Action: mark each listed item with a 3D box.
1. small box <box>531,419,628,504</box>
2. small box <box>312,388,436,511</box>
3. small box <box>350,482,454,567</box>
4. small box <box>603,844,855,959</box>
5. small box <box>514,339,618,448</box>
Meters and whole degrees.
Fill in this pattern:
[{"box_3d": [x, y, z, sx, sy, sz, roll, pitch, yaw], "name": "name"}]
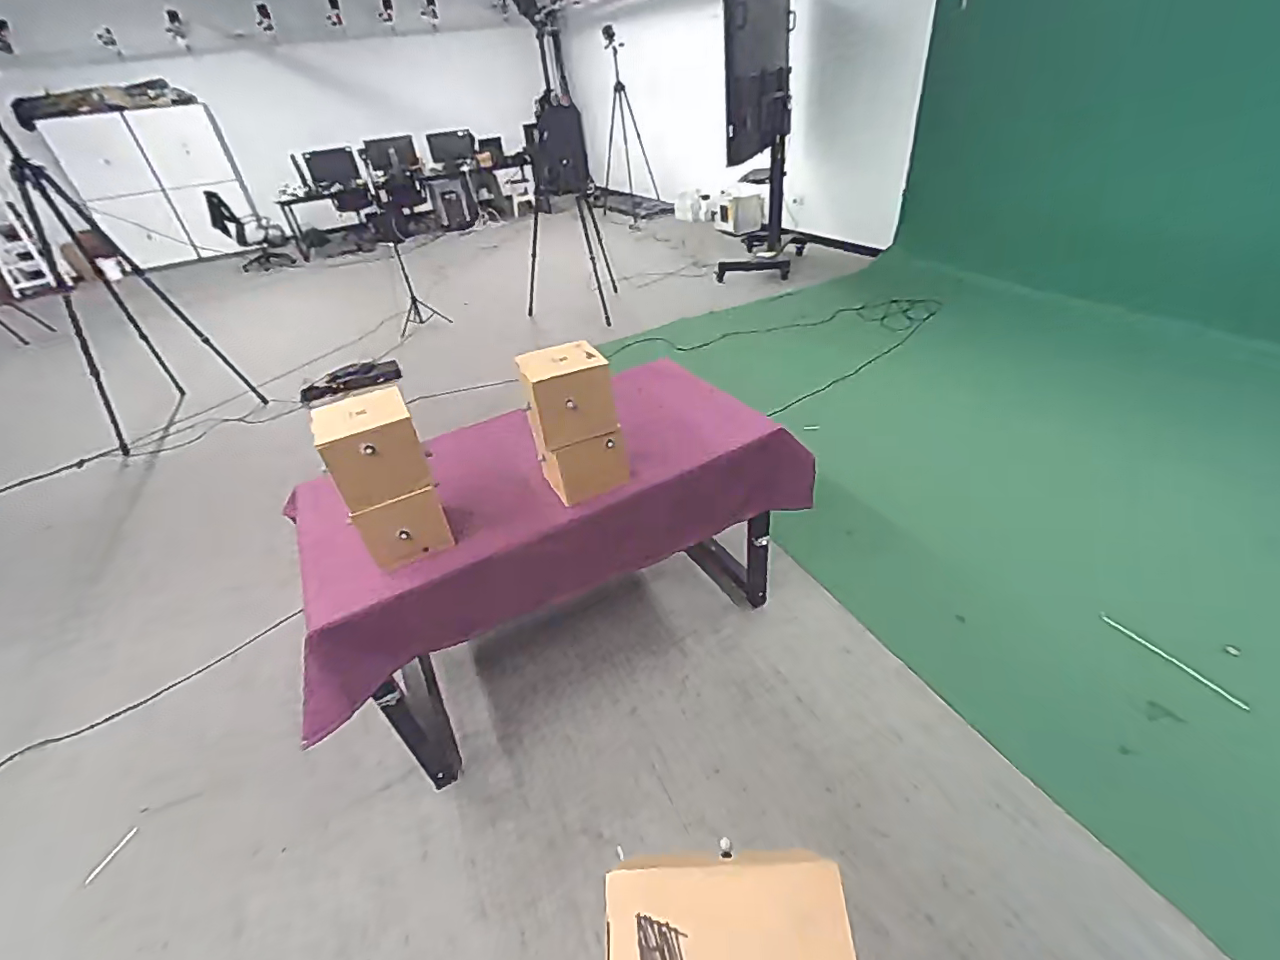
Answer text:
[{"box_3d": [-0.144, -0.068, 1.325, 0.179, 0.176, 0.168, -22, 39, -19], "name": "small box"}, {"box_3d": [-0.544, -0.062, 1.112, 0.179, 0.176, 0.168, -22, 40, -19], "name": "small box"}, {"box_3d": [-0.531, 0.071, 1.207, 0.168, 0.176, 0.179, -21, 38, -18], "name": "small box"}, {"box_3d": [0.070, 0.396, 0.430, 0.179, 0.176, 0.168, -5, 59, 3], "name": "small box"}, {"box_3d": [-0.166, -0.195, 1.222, 0.179, 0.176, 0.168, -20, 38, -15], "name": "small box"}]
